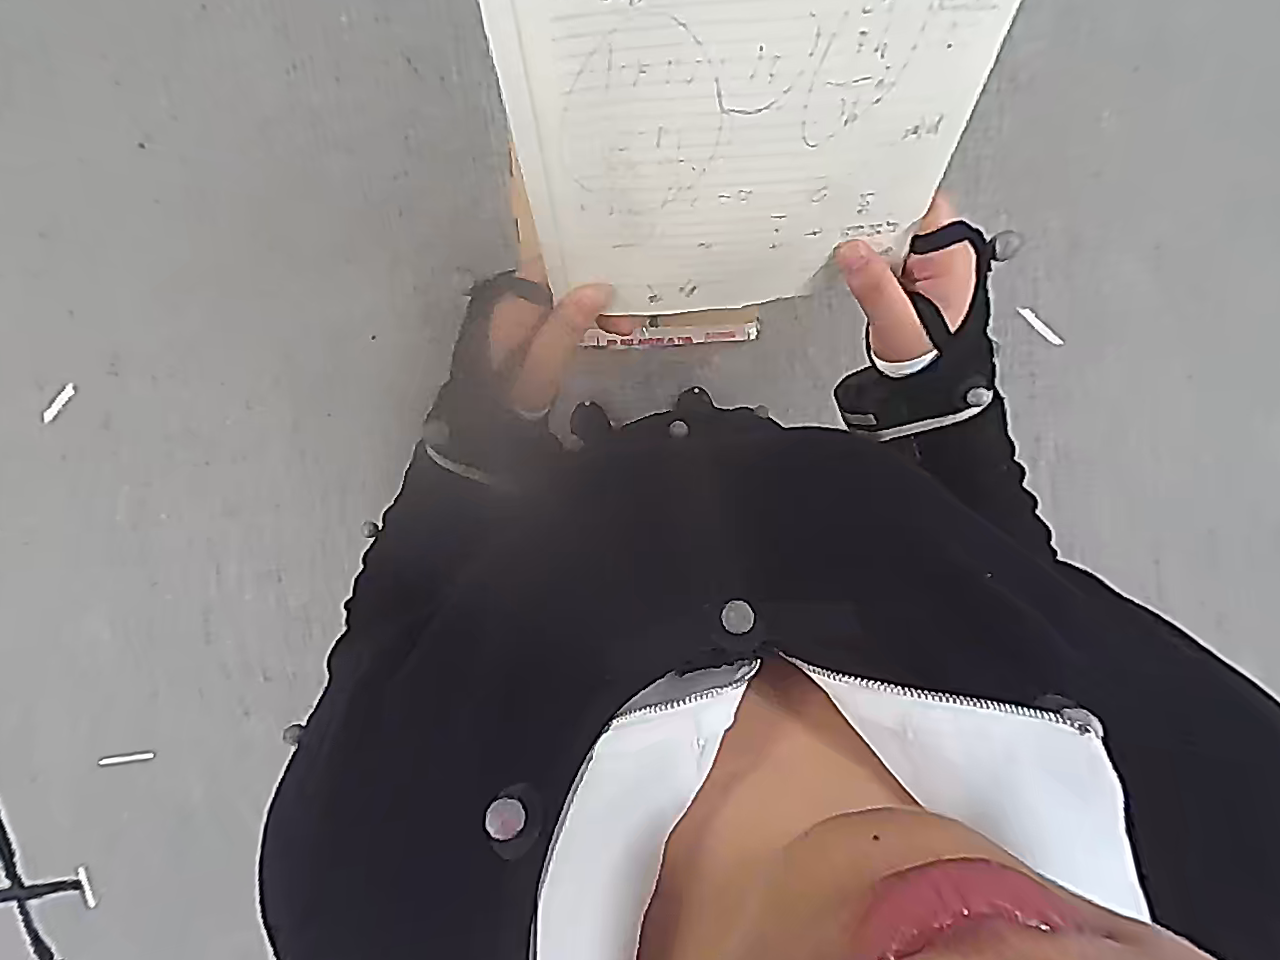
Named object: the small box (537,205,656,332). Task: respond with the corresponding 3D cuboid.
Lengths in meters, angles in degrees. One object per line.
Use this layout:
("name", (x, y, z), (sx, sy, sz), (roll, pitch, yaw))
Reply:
("small box", (-0.067, -0.335, 0.882), (0.179, 0.176, 0.168), (0, 101, -1))

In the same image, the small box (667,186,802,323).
("small box", (0.148, -0.359, 0.888), (0.179, 0.176, 0.168), (-9, 100, -2))
